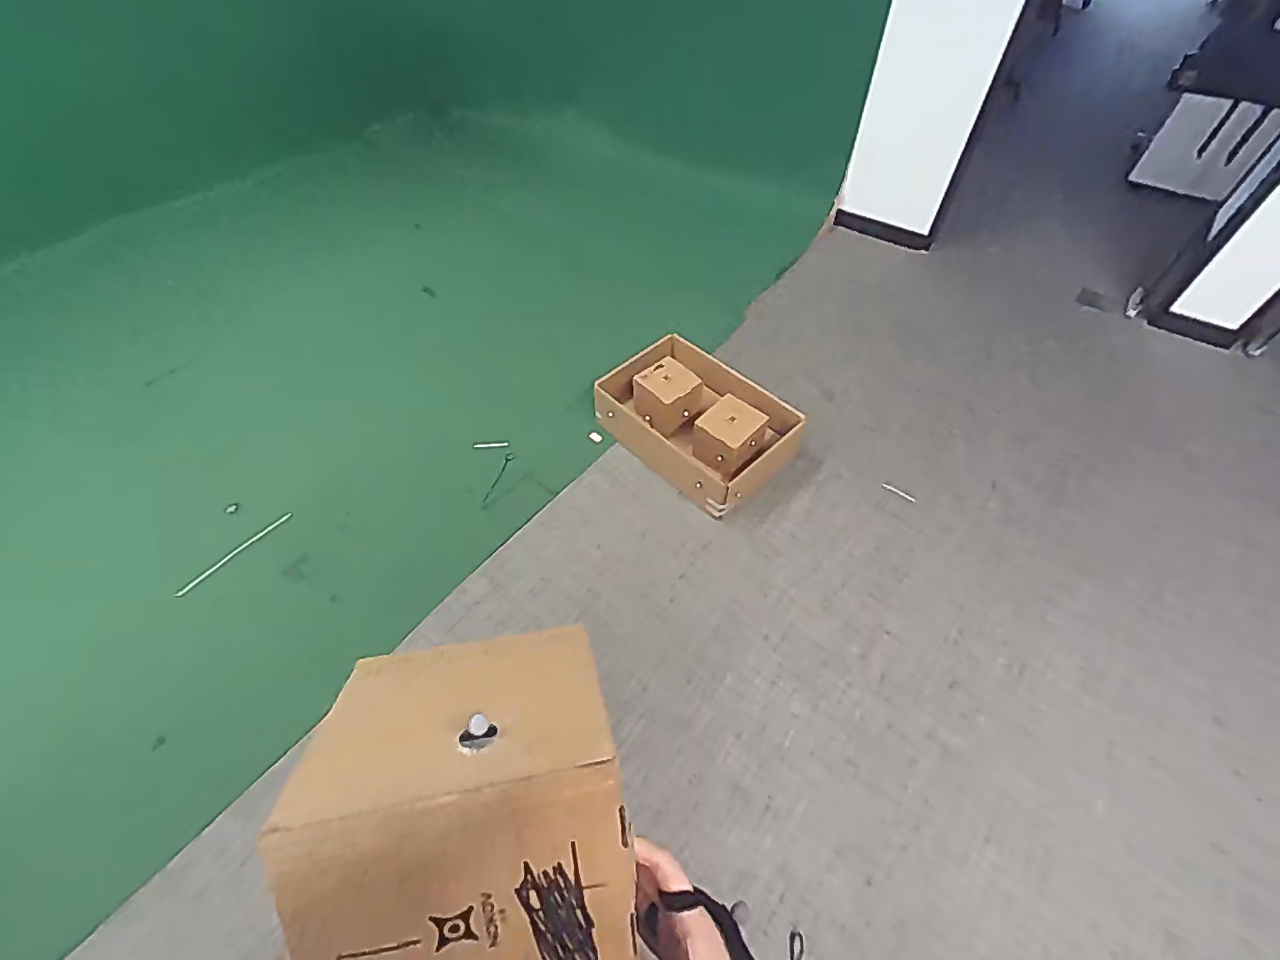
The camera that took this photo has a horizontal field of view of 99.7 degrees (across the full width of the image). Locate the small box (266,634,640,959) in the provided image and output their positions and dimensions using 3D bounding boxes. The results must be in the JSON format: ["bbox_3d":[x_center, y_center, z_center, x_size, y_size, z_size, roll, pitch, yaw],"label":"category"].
[{"bbox_3d":[-0.105,0.222,0.366,0.179,0.168,0.176,-6,12,-10],"label":"small box"}]
